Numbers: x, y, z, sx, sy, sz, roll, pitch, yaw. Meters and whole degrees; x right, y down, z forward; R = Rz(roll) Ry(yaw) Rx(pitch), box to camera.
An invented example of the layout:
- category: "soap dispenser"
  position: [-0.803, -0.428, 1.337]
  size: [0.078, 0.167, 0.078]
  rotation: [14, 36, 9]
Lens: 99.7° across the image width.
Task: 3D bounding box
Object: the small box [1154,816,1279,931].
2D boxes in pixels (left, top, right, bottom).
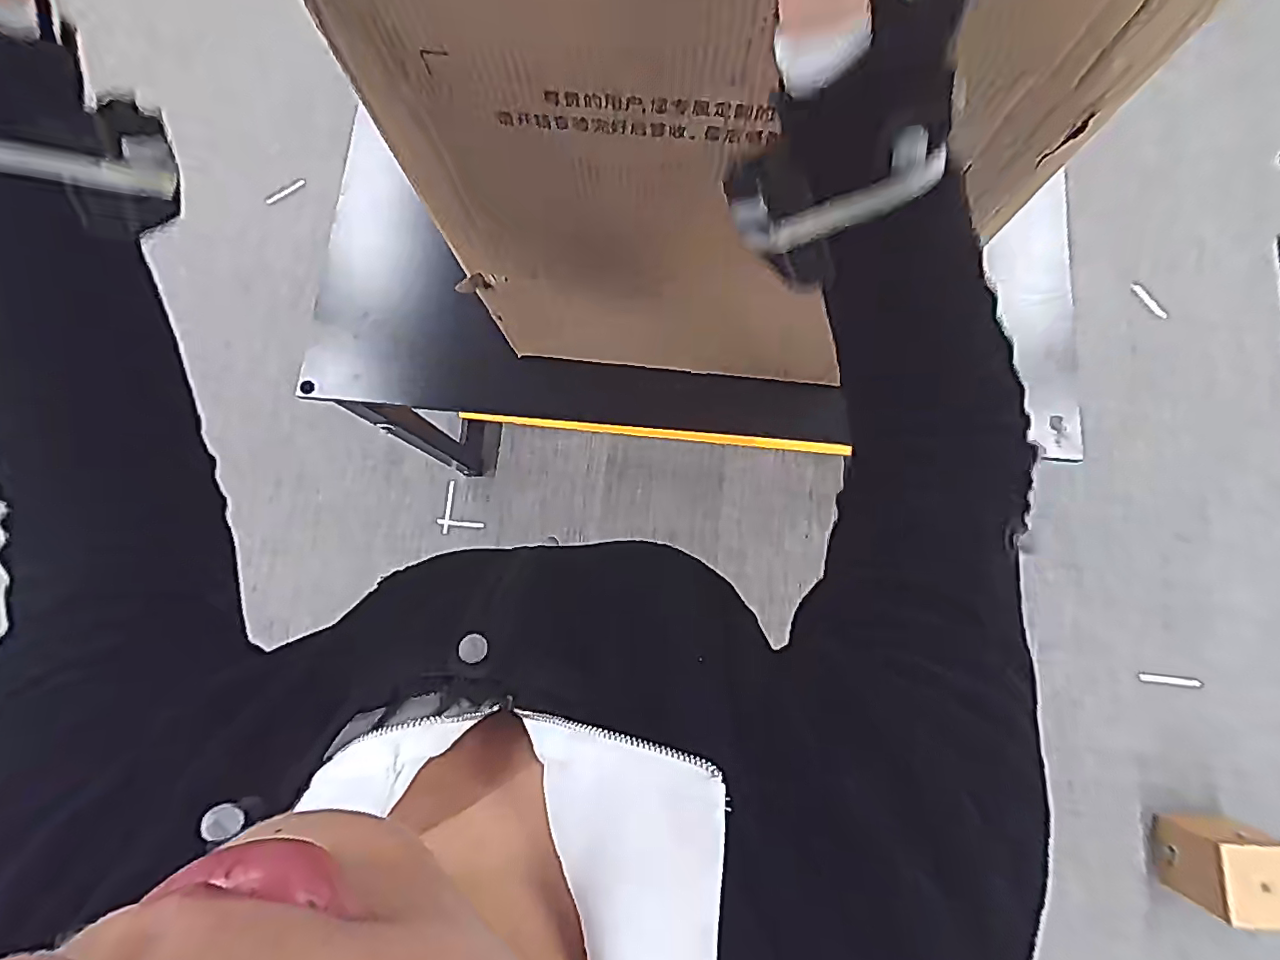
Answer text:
- category: "small box"
  position: [1.376, 0.913, 1.268]
  size: [0.179, 0.176, 0.168]
  rotation: [1, 79, 3]
